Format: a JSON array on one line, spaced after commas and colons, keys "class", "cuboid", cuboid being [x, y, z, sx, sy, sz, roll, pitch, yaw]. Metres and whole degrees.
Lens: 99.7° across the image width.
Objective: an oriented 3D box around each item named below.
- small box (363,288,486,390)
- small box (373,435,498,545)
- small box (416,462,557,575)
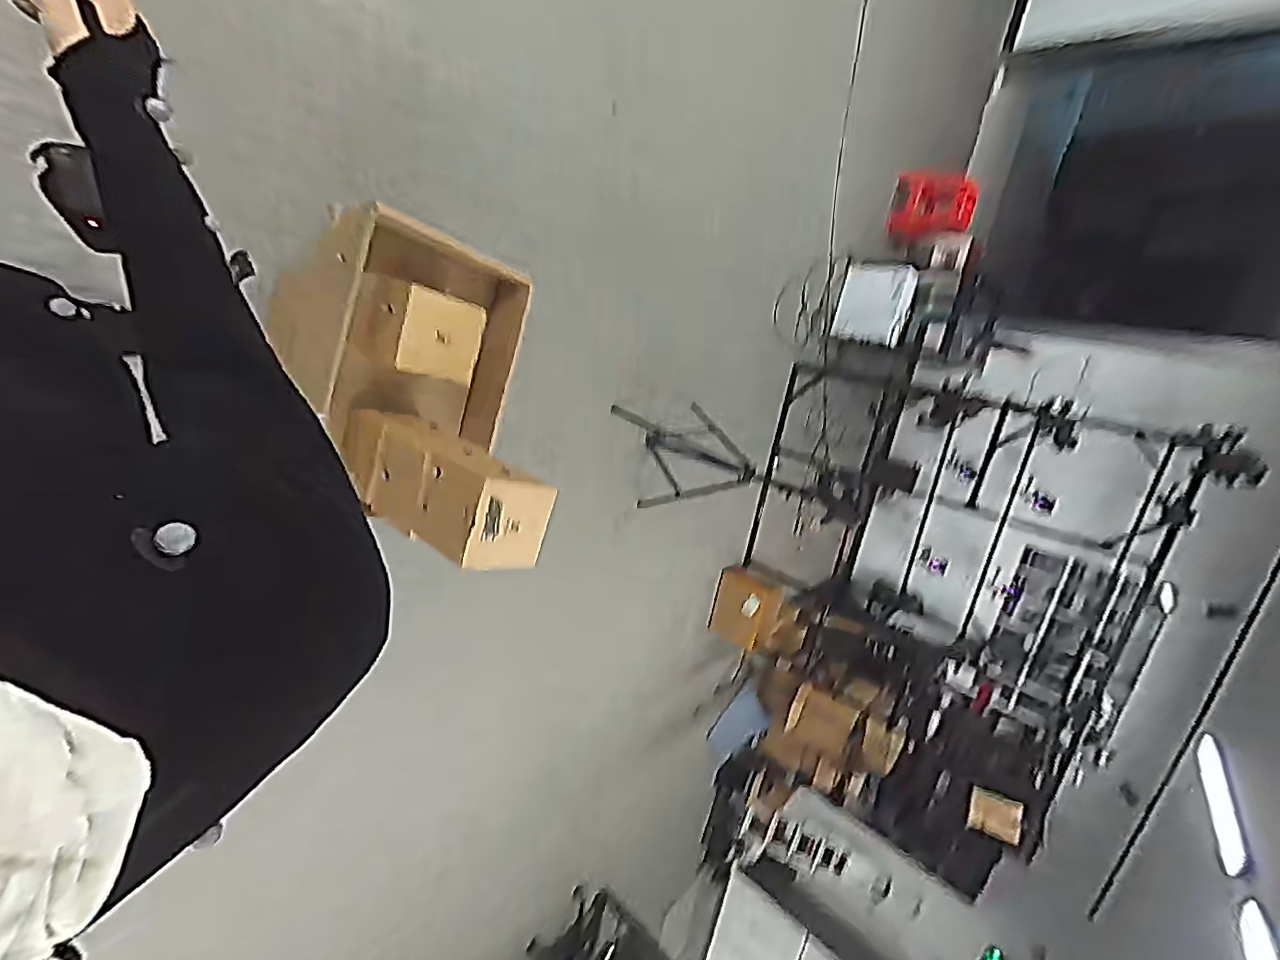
[{"class": "small box", "cuboid": [-0.471, -0.307, 1.173, 0.179, 0.176, 0.168, 5, 104, -53]}, {"class": "small box", "cuboid": [-0.427, 0.021, 1.117, 0.168, 0.176, 0.179, 4, 105, -52]}, {"class": "small box", "cuboid": [-0.295, 0.072, 1.030, 0.179, 0.176, 0.168, 11, 99, -53]}]
